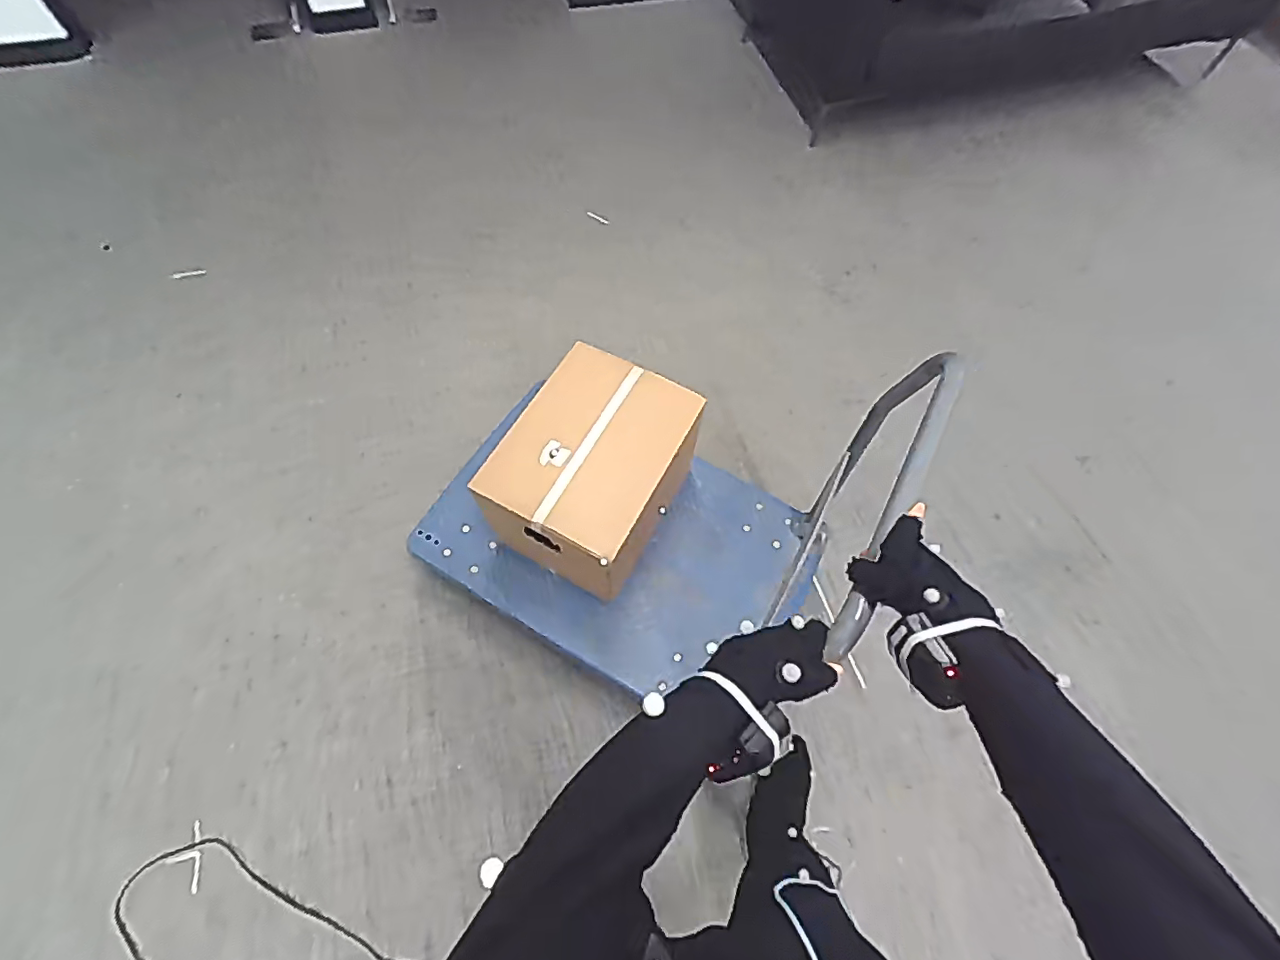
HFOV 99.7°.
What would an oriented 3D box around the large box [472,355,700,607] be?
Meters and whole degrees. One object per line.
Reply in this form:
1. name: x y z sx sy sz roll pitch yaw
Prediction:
1. large box: -0.100 0.009 1.205 0.320 0.320 0.408 26 66 12
